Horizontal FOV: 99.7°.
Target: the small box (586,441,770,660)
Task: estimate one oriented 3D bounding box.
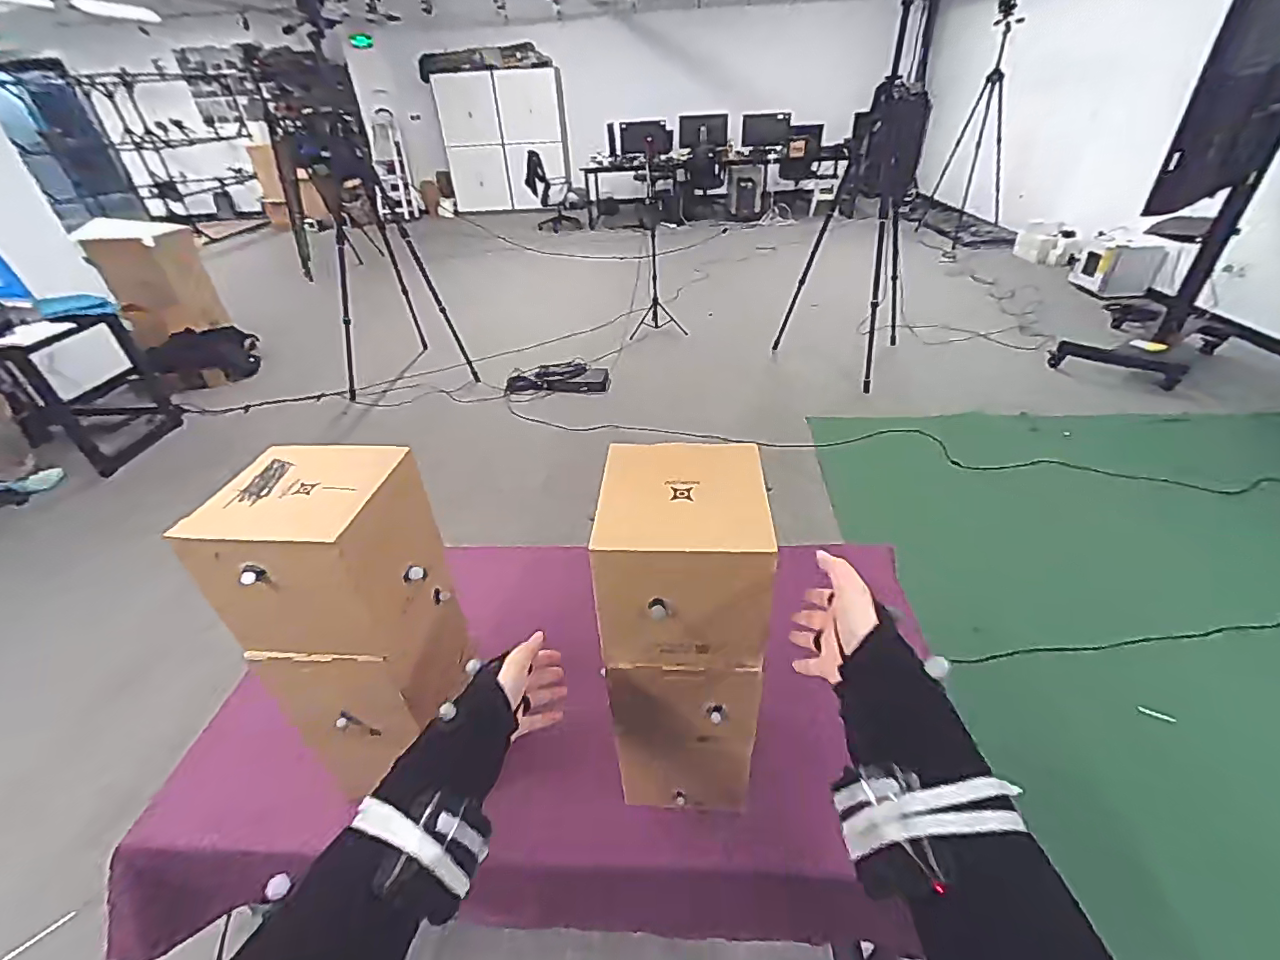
[{"bbox_3d":[0.042,0.074,0.584,0.168,0.176,0.179,0,36,4],"label":"small box"}]

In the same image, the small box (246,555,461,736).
[{"bbox_3d":[-0.350,0.205,0.708,0.168,0.176,0.179,-1,36,4],"label":"small box"}]

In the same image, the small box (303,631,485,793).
[{"bbox_3d":[-0.344,0.341,0.801,0.179,0.176,0.168,-1,36,2],"label":"small box"}]

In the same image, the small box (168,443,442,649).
[{"bbox_3d":[-0.352,0.072,0.611,0.179,0.176,0.168,1,36,5],"label":"small box"}]

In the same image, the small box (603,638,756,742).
[{"bbox_3d":[0.051,0.205,0.680,0.168,0.176,0.179,0,36,4],"label":"small box"}]
